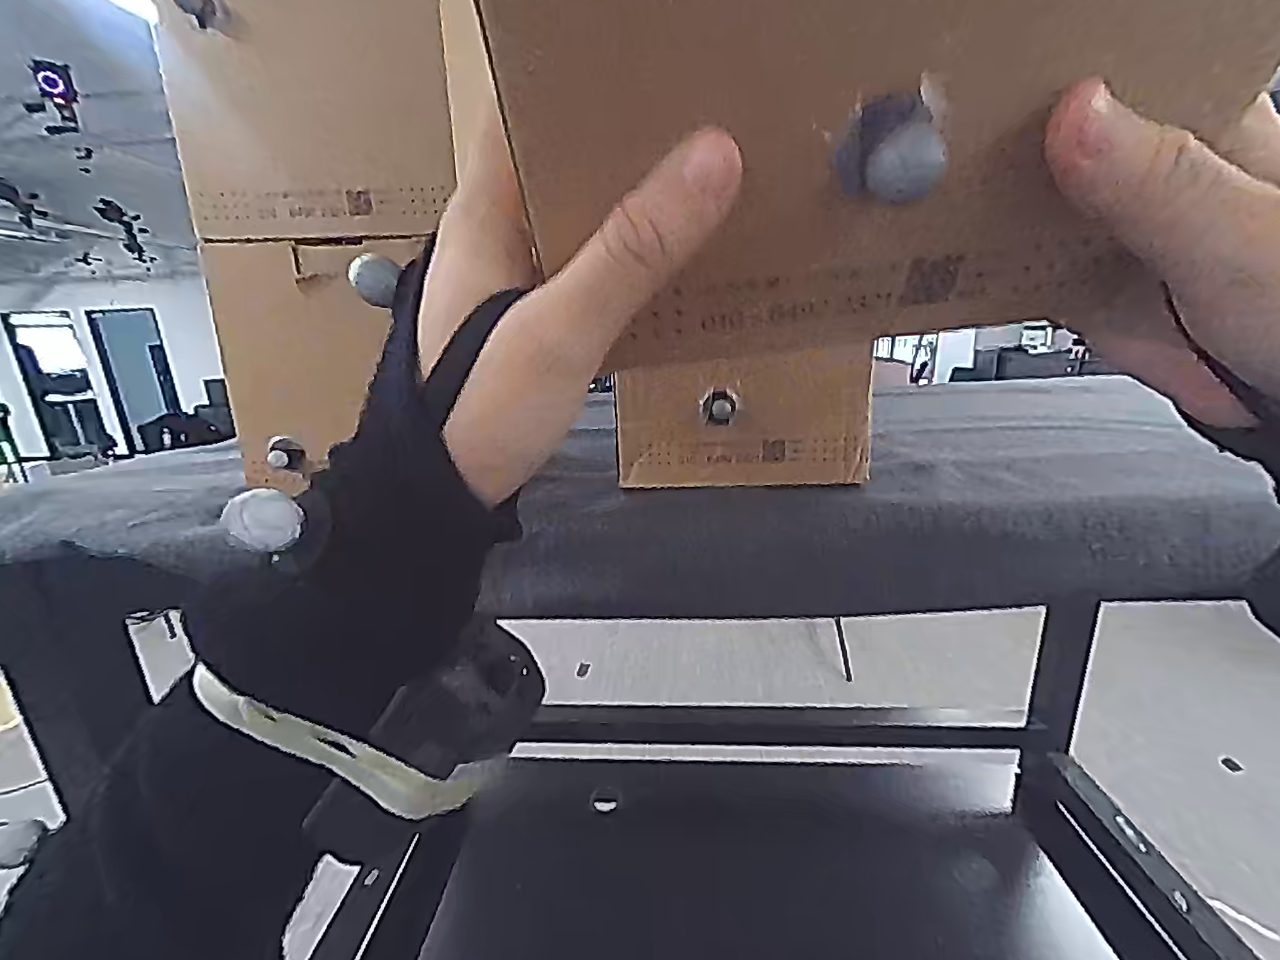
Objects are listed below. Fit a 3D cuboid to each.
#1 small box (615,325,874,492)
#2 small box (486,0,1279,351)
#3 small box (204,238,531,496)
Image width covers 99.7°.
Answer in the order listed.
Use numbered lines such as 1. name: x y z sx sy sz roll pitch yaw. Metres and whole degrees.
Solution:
1. small box: 0.069 -0.093 0.424 0.168 0.176 0.179 -1 14 3
2. small box: 0.045 -0.161 0.149 0.168 0.176 0.179 -7 53 1
3. small box: -0.187 -0.086 0.435 0.168 0.176 0.179 -1 14 1
